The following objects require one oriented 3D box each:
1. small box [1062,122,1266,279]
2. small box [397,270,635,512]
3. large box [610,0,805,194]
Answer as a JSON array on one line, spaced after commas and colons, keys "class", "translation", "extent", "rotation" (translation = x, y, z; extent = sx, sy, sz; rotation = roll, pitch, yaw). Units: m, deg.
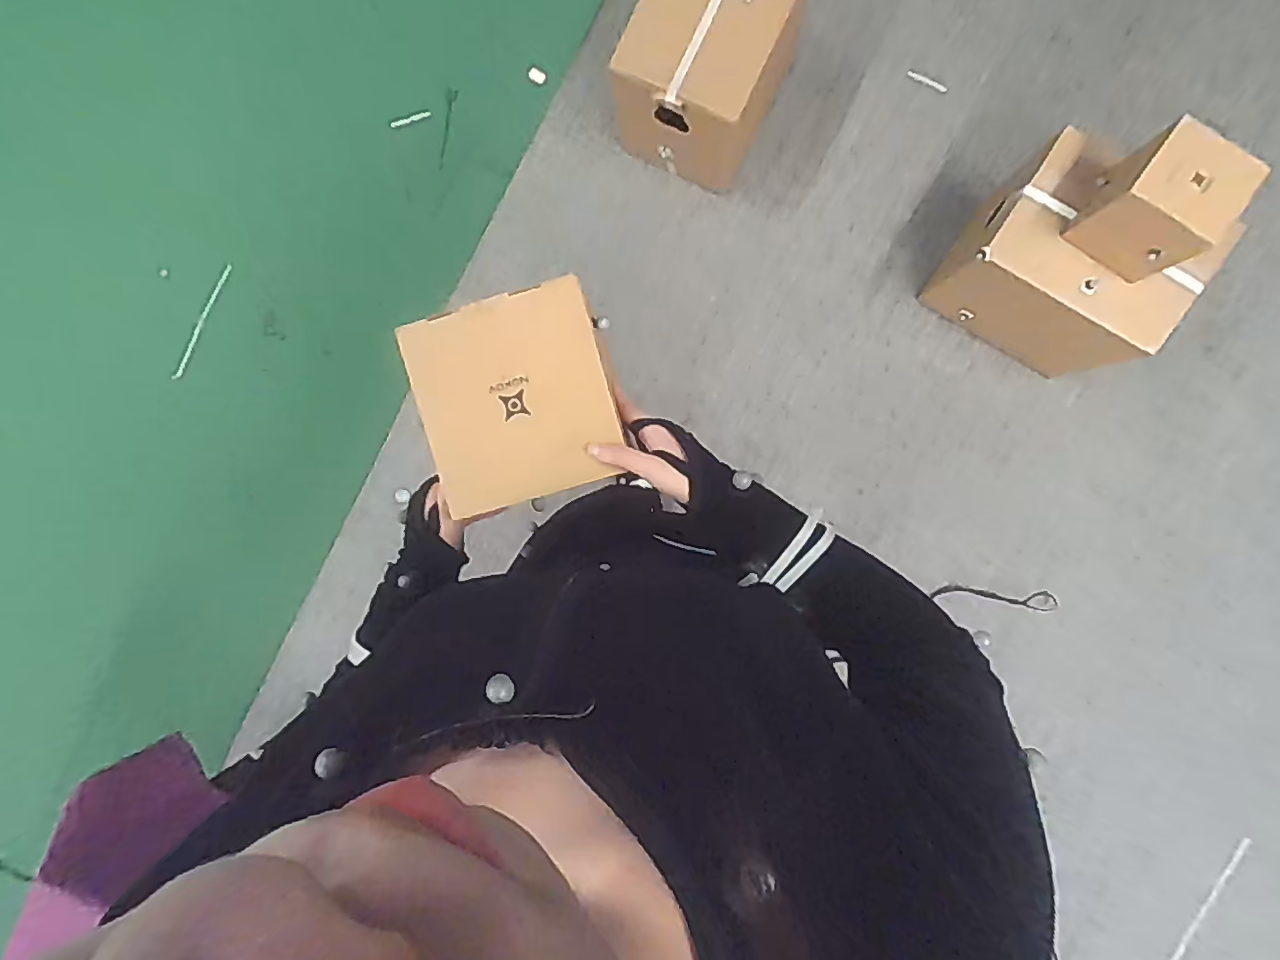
[{"class": "small box", "translation": [0.960, -0.505, 1.010], "extent": [0.179, 0.176, 0.168], "rotation": [37, 91, 3]}, {"class": "small box", "translation": [-0.106, -0.081, 0.544], "extent": [0.168, 0.176, 0.179], "rotation": [-15, 93, 3]}, {"class": "large box", "translation": [0.167, -1.003, 1.306], "extent": [0.320, 0.320, 0.408], "rotation": [27, 92, 4]}]
